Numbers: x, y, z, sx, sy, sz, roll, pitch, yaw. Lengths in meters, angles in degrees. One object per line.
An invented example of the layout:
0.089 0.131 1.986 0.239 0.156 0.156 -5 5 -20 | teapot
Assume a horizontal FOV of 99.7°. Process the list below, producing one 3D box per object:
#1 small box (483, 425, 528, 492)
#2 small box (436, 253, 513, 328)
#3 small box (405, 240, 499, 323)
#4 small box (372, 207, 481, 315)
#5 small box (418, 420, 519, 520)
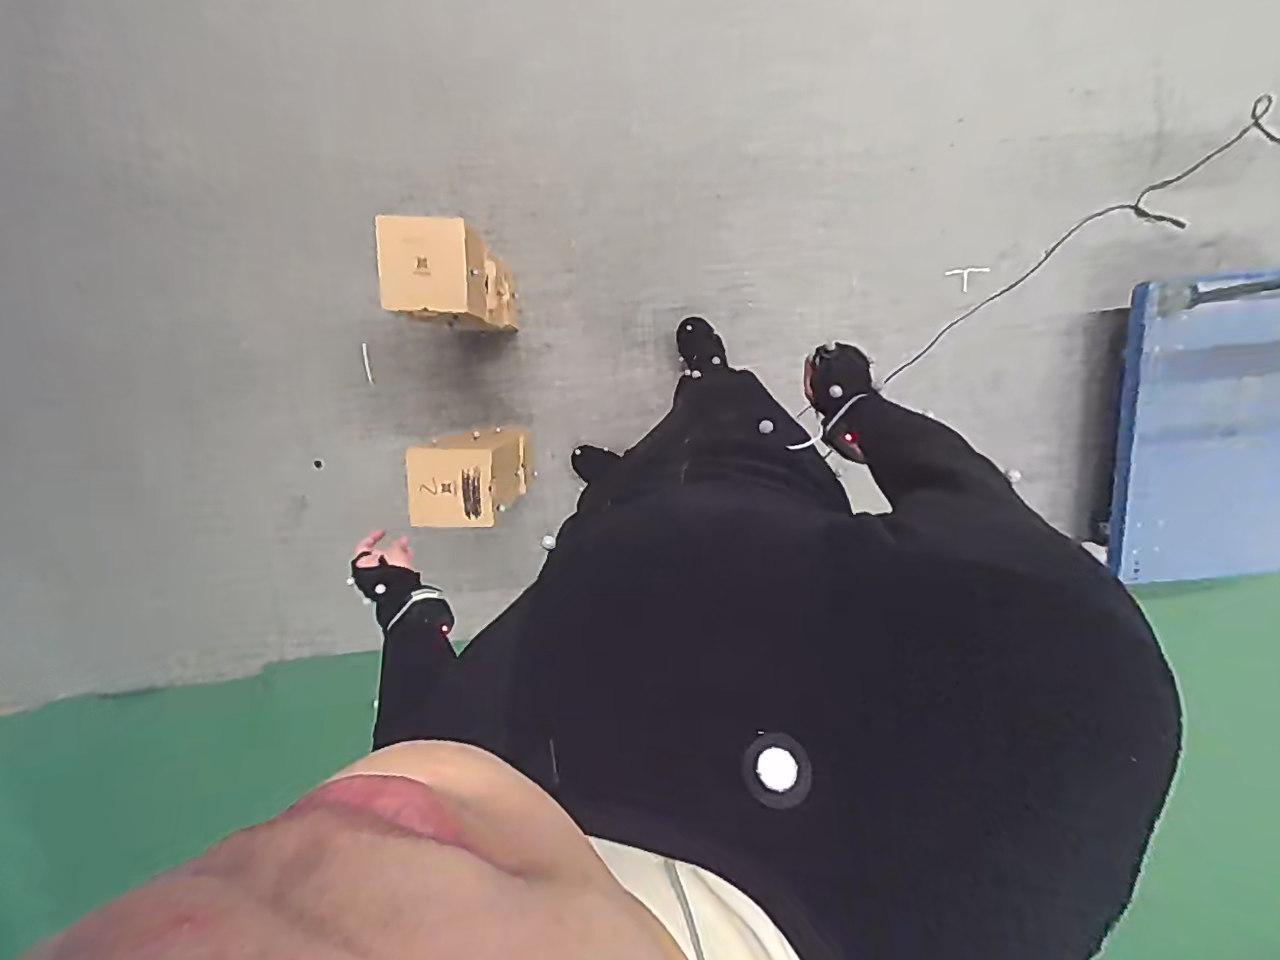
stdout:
-0.410 -0.065 1.509 0.179 0.176 0.168 0 101 -3 | small box
-0.433 -0.493 1.420 0.179 0.176 0.168 -3 101 -4 | small box
-0.433 -0.460 1.259 0.179 0.176 0.168 1 102 -4 | small box
-0.423 -0.434 1.098 0.168 0.176 0.179 1 101 -4 | small box
-0.419 -0.031 1.357 0.168 0.176 0.179 31 98 -11 | small box
